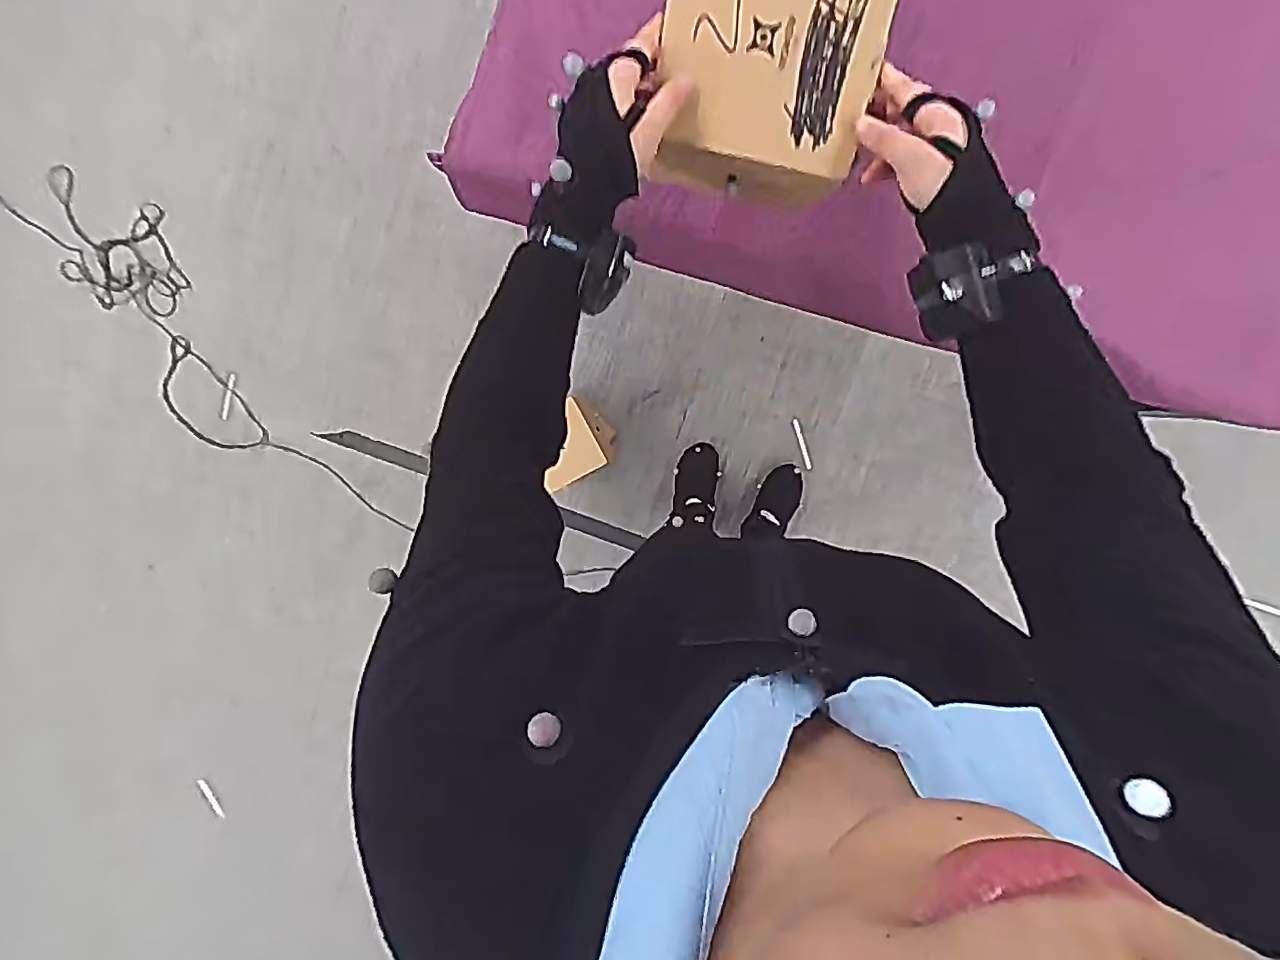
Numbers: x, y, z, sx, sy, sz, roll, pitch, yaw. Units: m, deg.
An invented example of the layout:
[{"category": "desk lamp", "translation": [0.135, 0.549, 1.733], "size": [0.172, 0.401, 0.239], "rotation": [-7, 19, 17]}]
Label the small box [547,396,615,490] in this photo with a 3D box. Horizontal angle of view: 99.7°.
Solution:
[{"category": "small box", "translation": [-0.181, -0.101, 1.415], "size": [0.168, 0.176, 0.179], "rotation": [40, 99, -2]}]

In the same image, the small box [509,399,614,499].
[{"category": "small box", "translation": [-0.170, -0.079, 1.250], "size": [0.179, 0.176, 0.168], "rotation": [-27, 95, 8]}]
